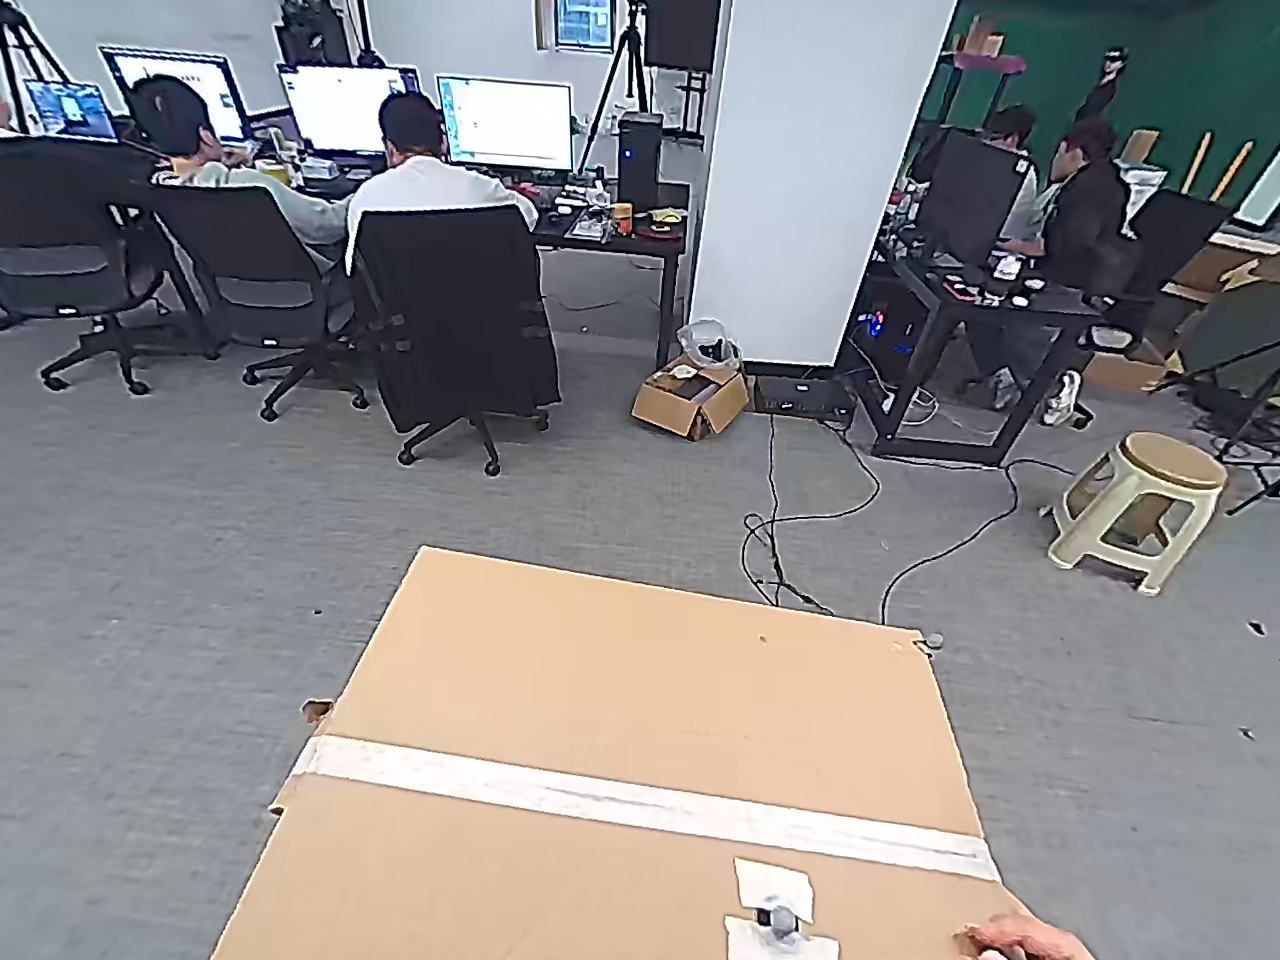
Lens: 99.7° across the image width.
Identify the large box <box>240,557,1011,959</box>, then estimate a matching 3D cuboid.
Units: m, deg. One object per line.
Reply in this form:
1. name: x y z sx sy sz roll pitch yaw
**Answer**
1. large box: -0.010 0.303 0.429 0.408 0.320 0.320 11 44 -2
